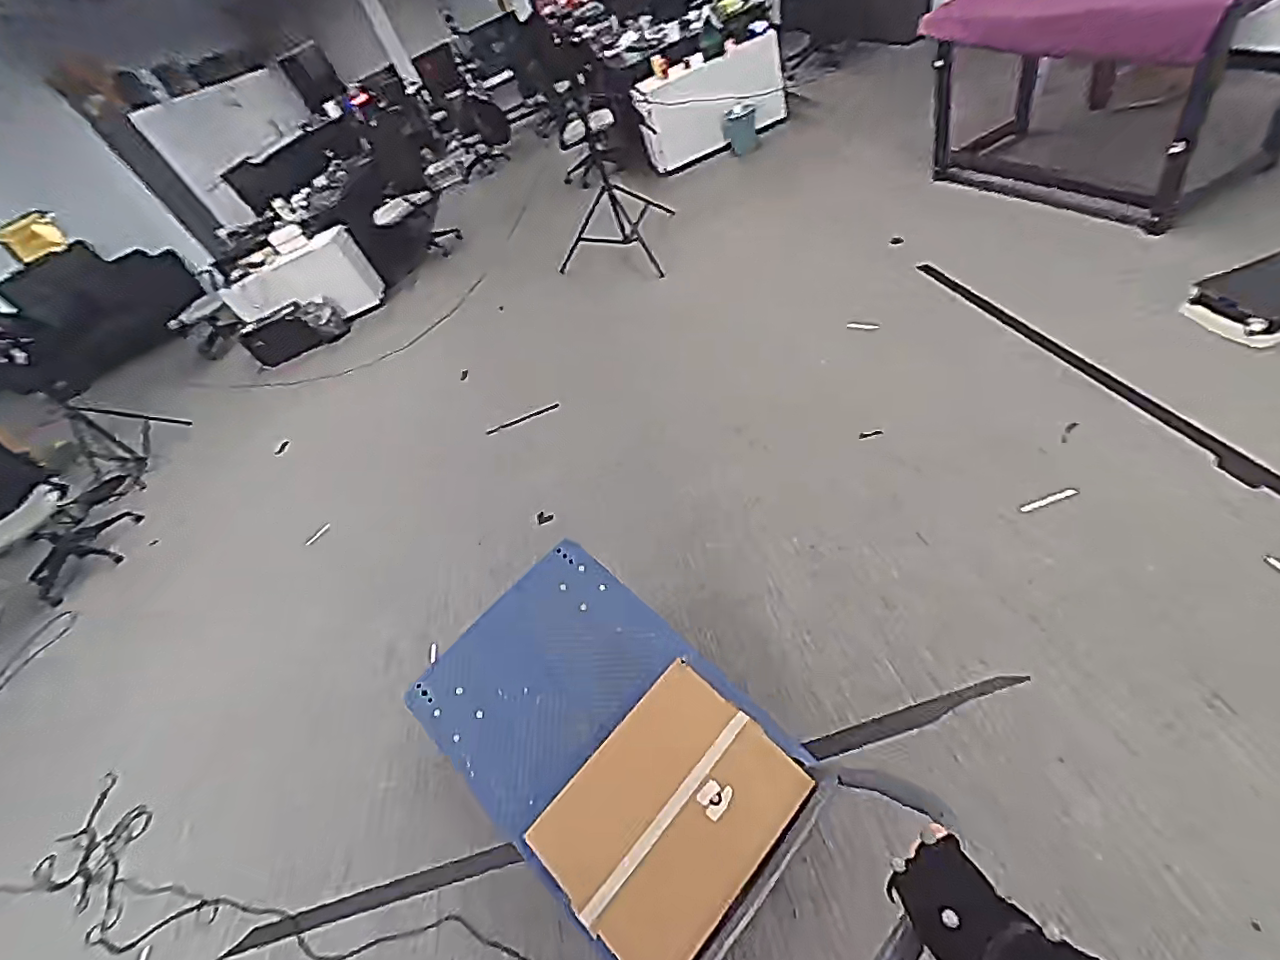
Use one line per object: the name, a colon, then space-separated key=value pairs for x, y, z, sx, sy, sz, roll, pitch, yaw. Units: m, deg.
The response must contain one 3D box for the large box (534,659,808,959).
large box: x=0.066 y=0.640 z=1.065 sx=0.320 sy=0.320 sz=0.408 roll=37 pitch=69 yaw=22
